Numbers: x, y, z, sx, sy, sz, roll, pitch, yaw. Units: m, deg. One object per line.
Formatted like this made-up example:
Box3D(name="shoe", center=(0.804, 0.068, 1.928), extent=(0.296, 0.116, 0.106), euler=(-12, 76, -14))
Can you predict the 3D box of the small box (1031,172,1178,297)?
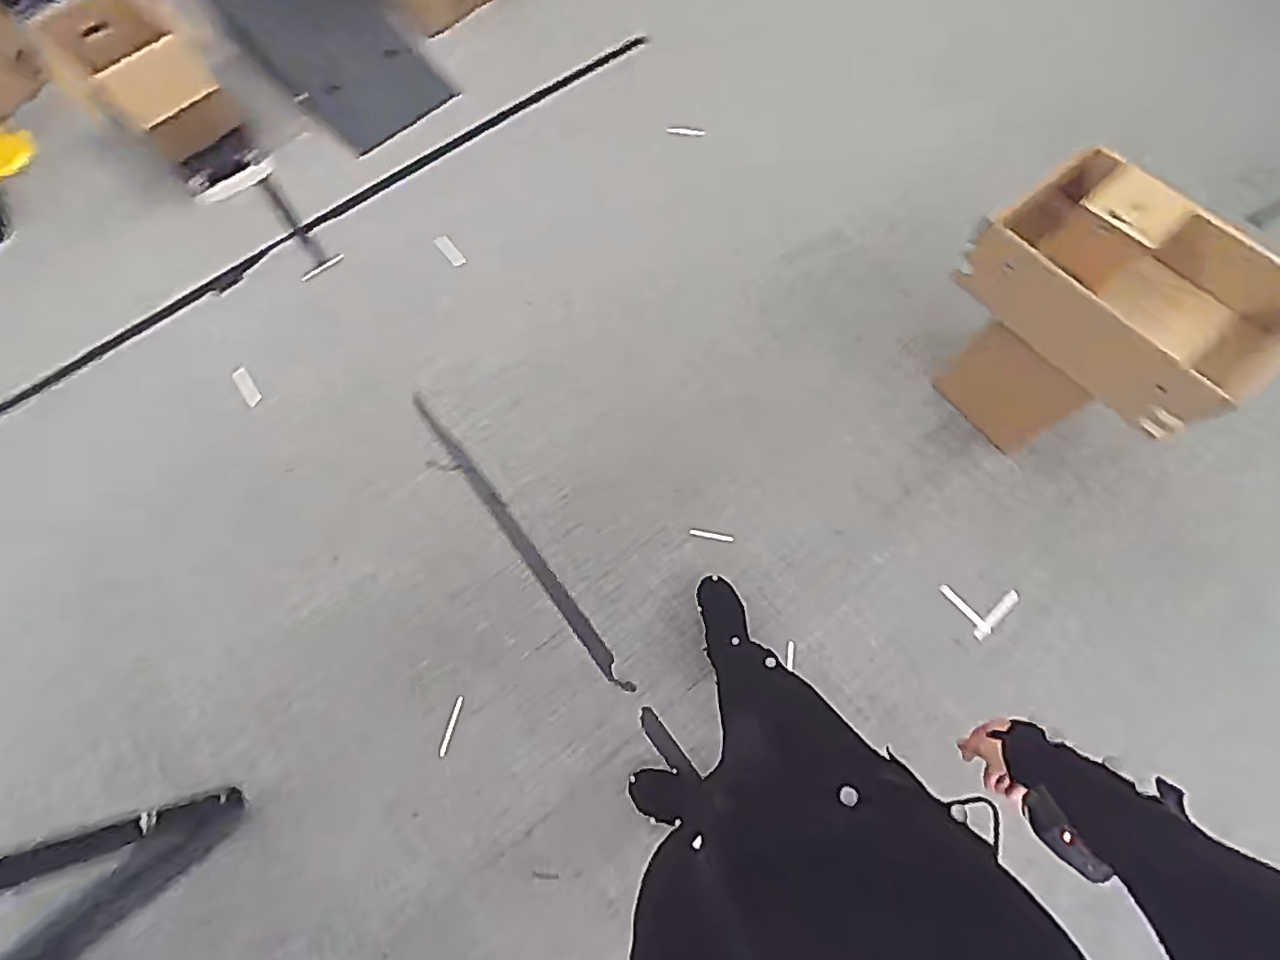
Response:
Box3D(name="small box", center=(1.087, -0.577, 1.283), extent=(0.179, 0.176, 0.168), euler=(-40, 74, -13))
